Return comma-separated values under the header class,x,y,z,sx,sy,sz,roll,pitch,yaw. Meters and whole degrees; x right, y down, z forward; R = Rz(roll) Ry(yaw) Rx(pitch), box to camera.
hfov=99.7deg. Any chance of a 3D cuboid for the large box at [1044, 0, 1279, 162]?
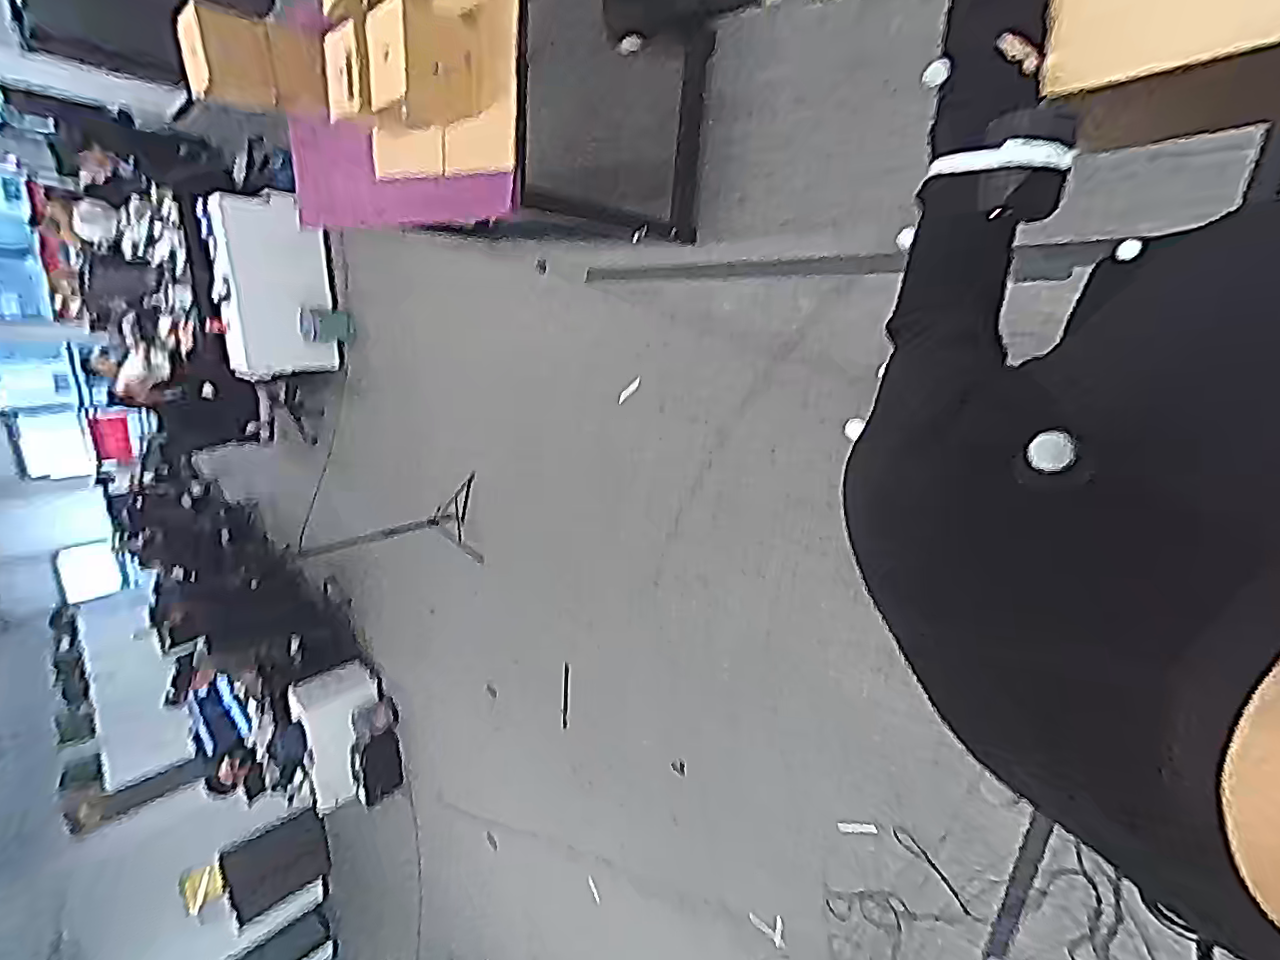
class,x,y,z,sx,sy,sz,roll,pitch,yaw
large box,0.520,-0.426,0.322,0.408,0.320,0.320,11,114,40
